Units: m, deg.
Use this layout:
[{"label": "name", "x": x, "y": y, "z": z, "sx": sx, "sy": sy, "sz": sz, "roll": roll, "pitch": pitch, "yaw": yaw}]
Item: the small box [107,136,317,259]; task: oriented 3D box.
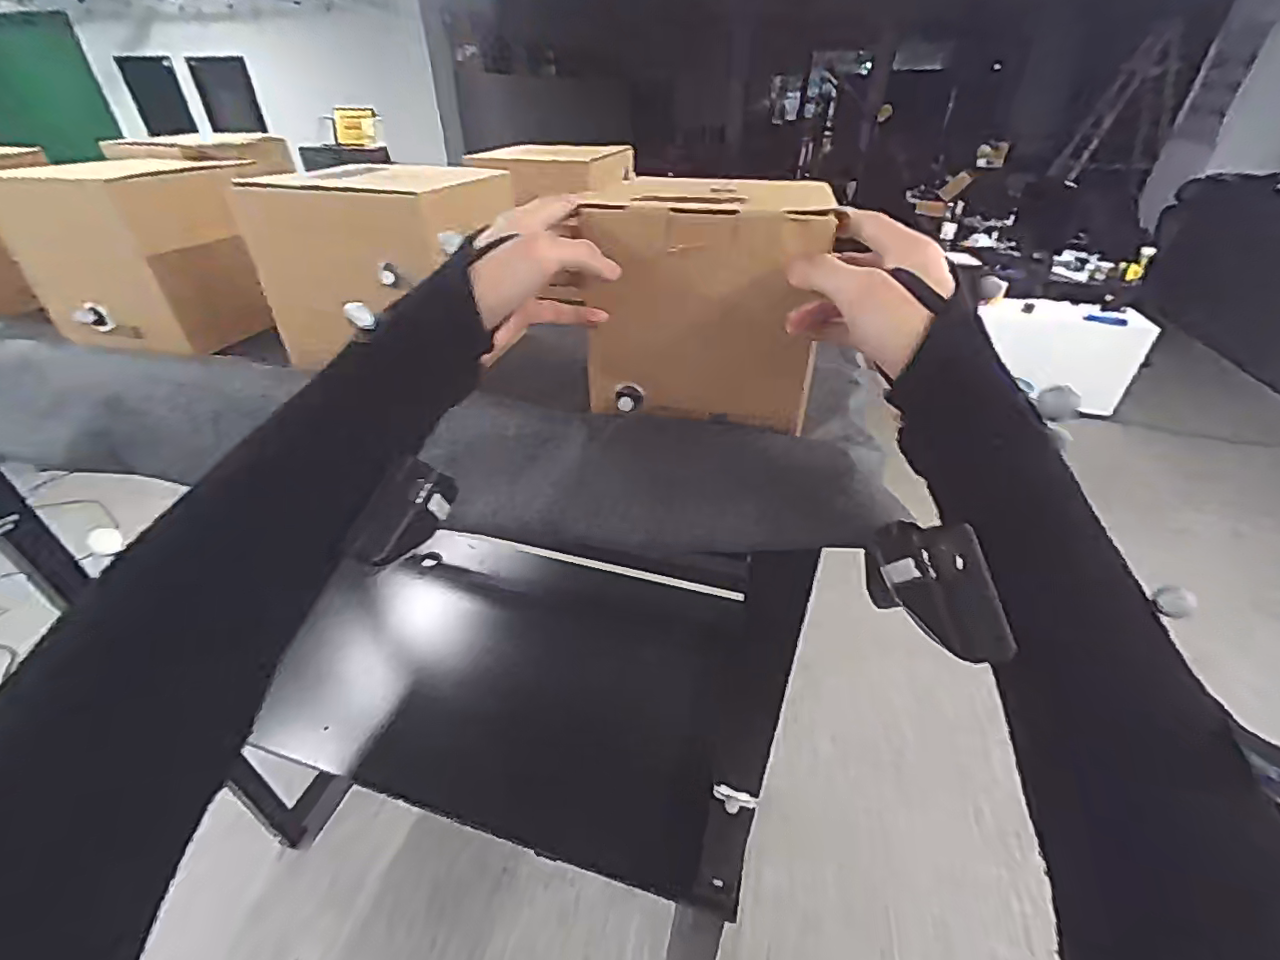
[{"label": "small box", "x": -0.666, "y": -0.444, "z": 0.869, "sx": 0.179, "sy": 0.176, "sz": 0.168, "roll": 10, "pitch": 37, "yaw": 11}]

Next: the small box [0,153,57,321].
[{"label": "small box", "x": -0.830, "y": -0.299, "z": 0.663, "sx": 0.179, "sy": 0.176, "sz": 0.168, "roll": 8, "pitch": 36, "yaw": 10}]

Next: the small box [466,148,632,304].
[{"label": "small box", "x": -0.109, "y": -0.352, "z": 0.747, "sx": 0.168, "sy": 0.176, "sz": 0.179, "roll": 9, "pitch": 37, "yaw": 13}]

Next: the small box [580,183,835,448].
[{"label": "small box", "x": 0.061, "y": -0.143, "z": 0.450, "sx": 0.168, "sy": 0.176, "sz": 0.179, "roll": 8, "pitch": 35, "yaw": 11}]

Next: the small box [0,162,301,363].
[{"label": "small box", "x": -0.511, "y": -0.242, "z": 0.590, "sx": 0.168, "sy": 0.176, "sz": 0.179, "roll": 7, "pitch": 35, "yaw": 10}]
